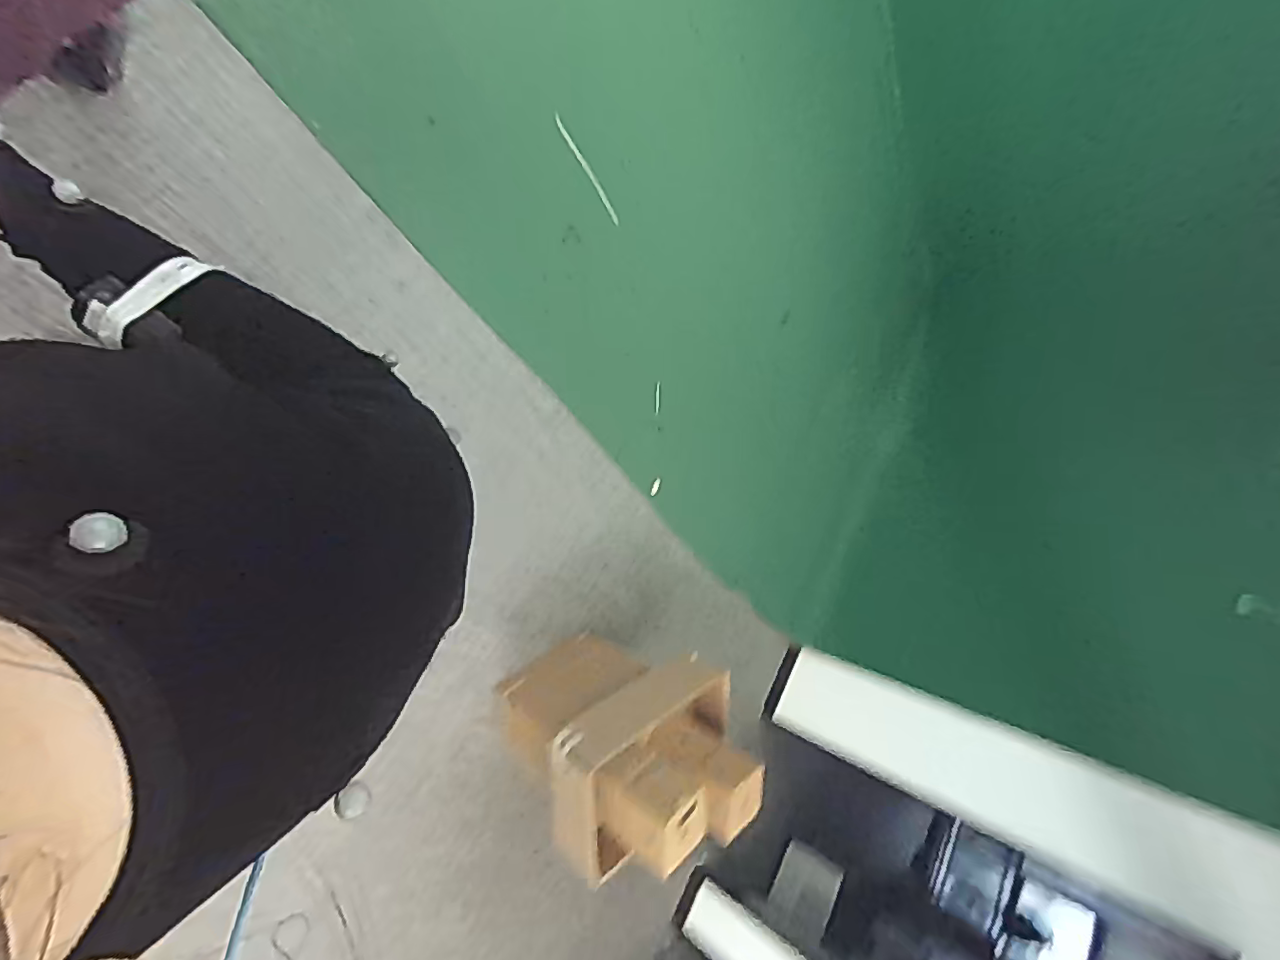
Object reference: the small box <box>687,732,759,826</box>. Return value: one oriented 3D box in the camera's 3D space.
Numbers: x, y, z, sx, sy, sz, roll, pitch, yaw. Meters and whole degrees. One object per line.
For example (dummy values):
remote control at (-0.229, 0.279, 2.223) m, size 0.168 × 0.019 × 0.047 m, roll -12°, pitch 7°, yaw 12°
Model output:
small box at (0.256, 0.929, 1.705) m, size 0.168 × 0.176 × 0.179 m, roll -11°, pitch 109°, yaw -43°

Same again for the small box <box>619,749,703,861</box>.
small box at (0.056, 0.870, 1.474) m, size 0.168 × 0.176 × 0.179 m, roll -19°, pitch 114°, yaw -43°
